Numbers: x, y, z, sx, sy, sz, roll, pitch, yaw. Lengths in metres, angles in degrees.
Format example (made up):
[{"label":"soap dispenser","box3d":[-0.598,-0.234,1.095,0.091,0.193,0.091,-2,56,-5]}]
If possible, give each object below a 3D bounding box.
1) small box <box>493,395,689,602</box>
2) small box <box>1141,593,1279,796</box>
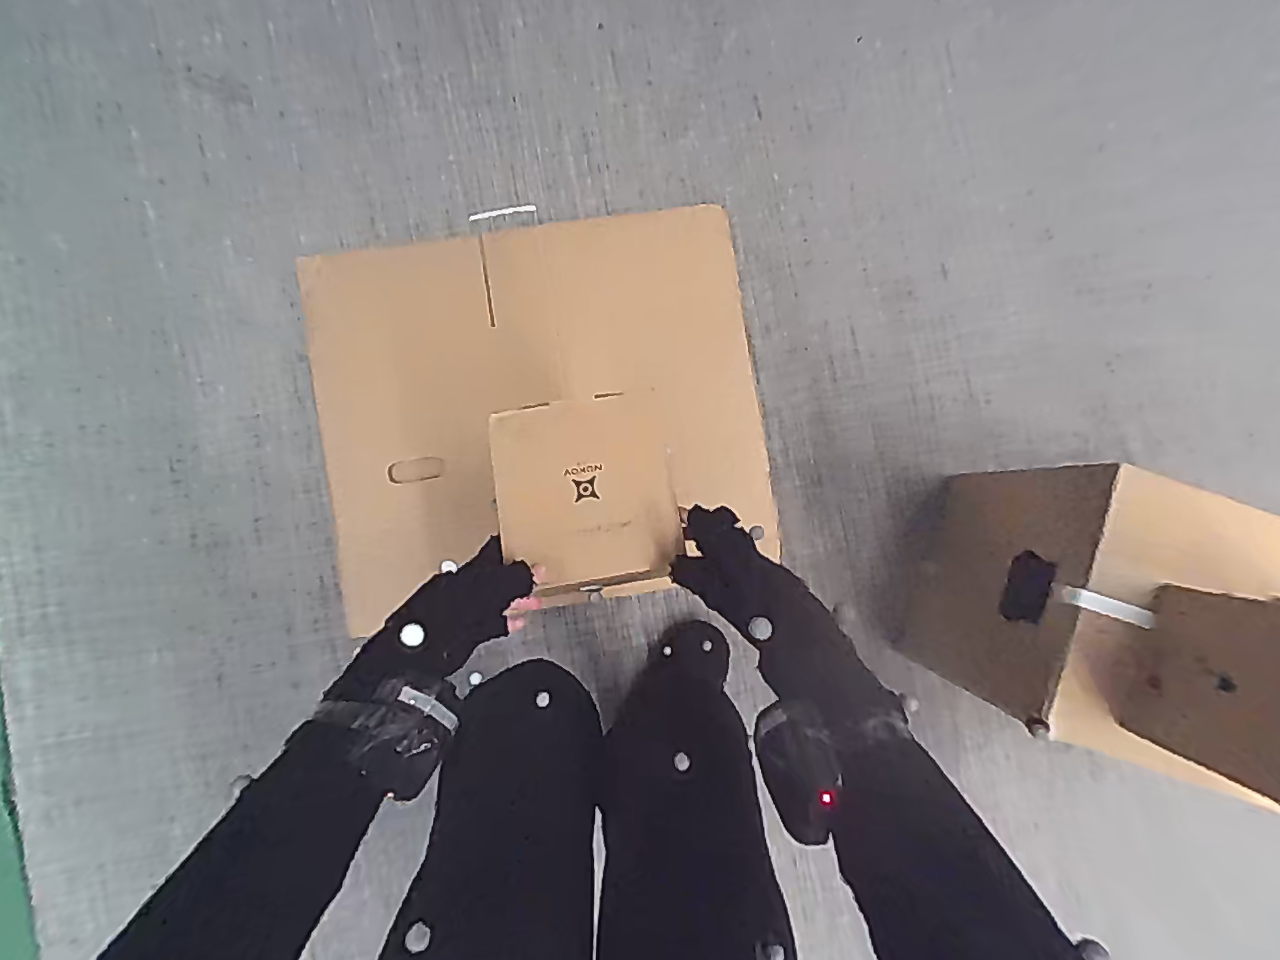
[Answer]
[{"label":"small box","box3d":[-0.052,0.030,0.592,0.168,0.176,0.179,-11,77,-4]},{"label":"small box","box3d":[0.623,0.207,0.495,0.179,0.176,0.168,13,86,-1]}]
